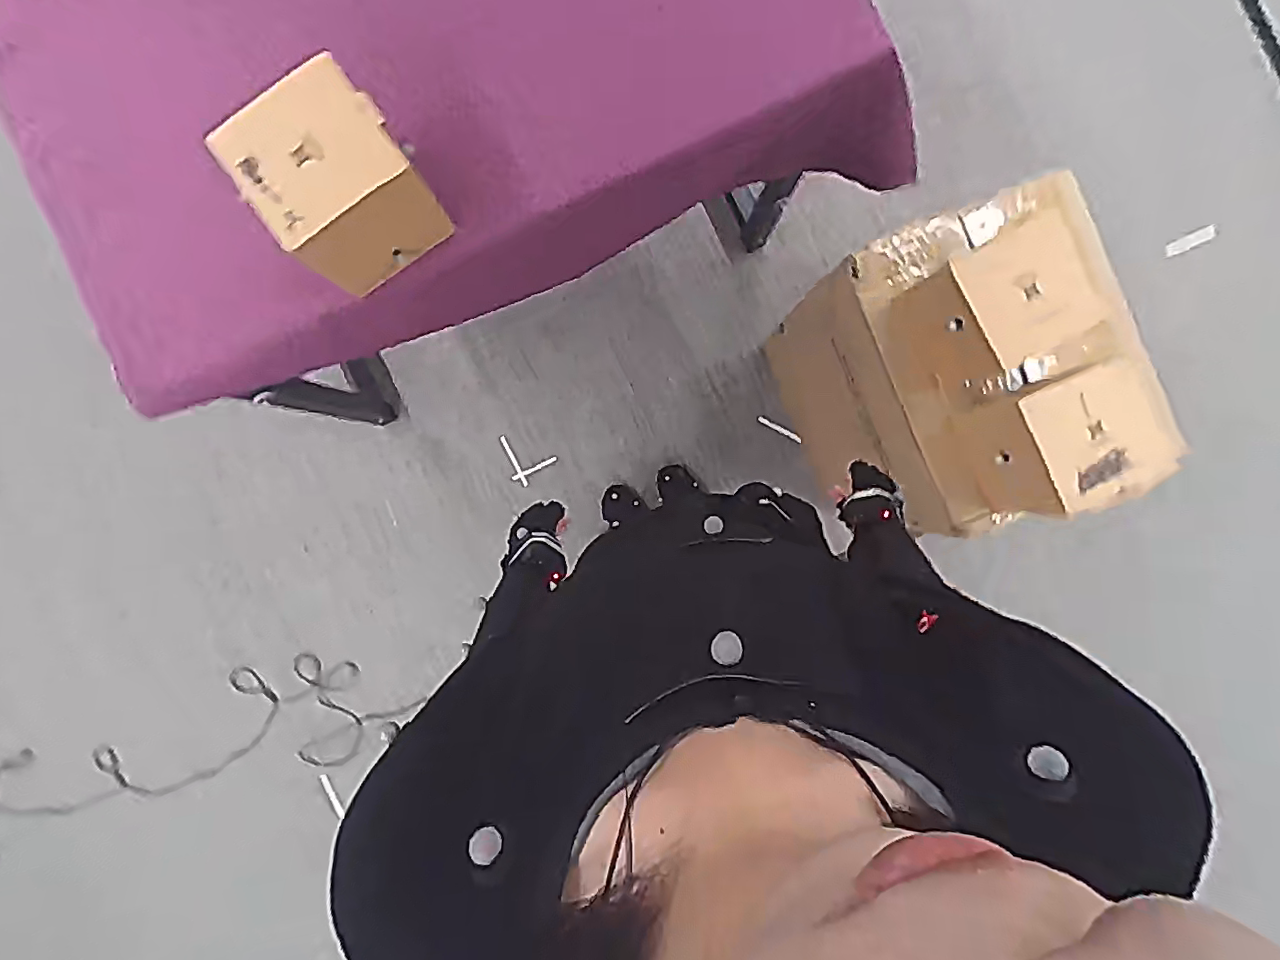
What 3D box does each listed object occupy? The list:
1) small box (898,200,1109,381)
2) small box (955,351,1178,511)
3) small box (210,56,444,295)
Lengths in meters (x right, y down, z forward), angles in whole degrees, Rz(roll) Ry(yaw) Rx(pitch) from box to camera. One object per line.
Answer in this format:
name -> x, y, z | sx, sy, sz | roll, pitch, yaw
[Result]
small box -> 0.529, -0.270, 0.815 | 0.168, 0.176, 0.179 | -29, 92, 2
small box -> 0.624, -0.067, 0.815 | 0.168, 0.176, 0.179 | -24, 88, 1
small box -> -0.382, -0.377, 0.704 | 0.179, 0.176, 0.168 | -36, 90, -1
